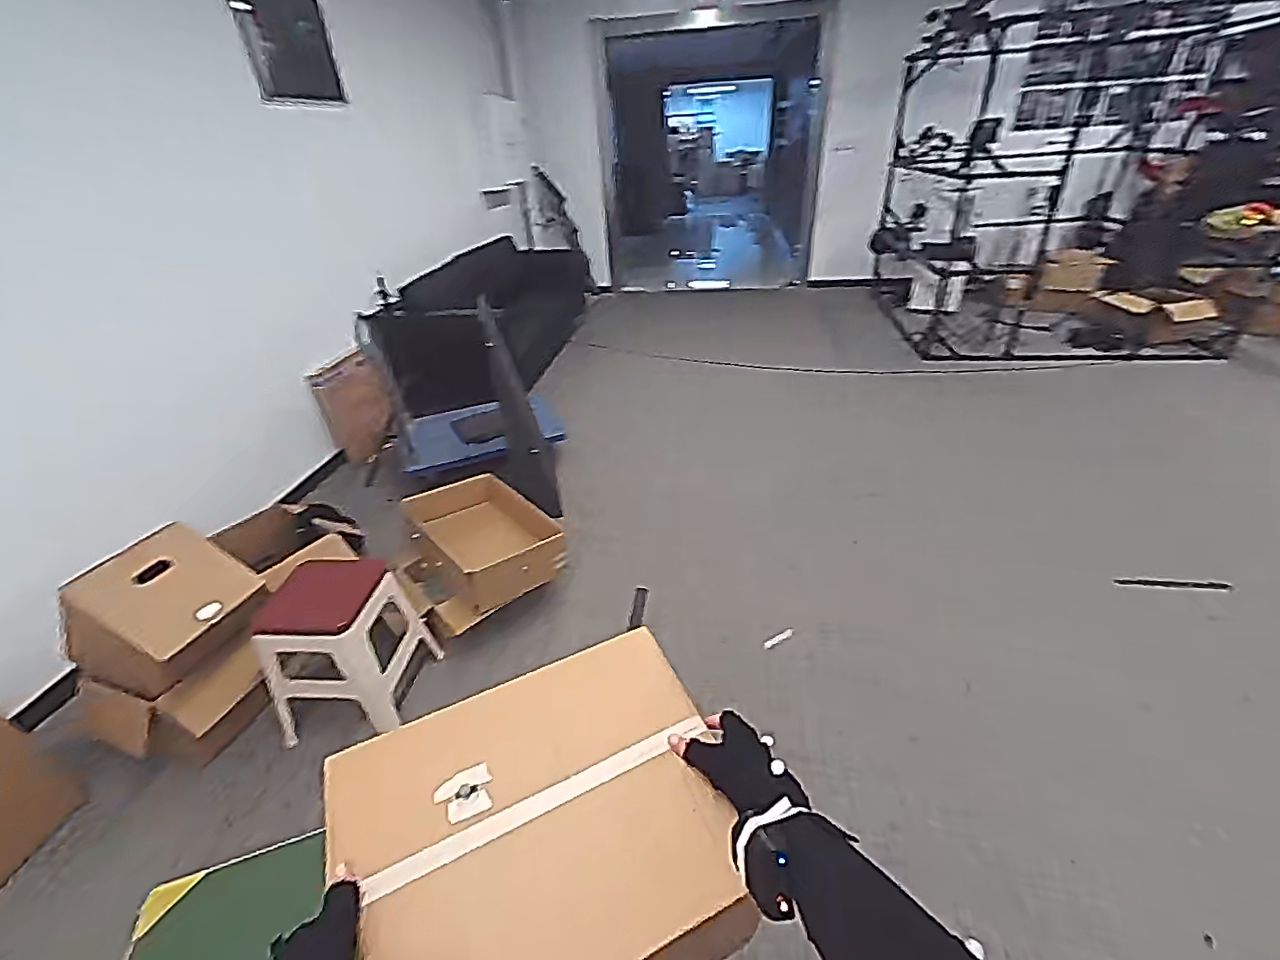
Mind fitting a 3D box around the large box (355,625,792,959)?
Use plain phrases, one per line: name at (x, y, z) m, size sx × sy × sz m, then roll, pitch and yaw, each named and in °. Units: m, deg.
large box at (-0.082, 0.457, 0.676) m, size 0.408 × 0.320 × 0.320 m, roll -18°, pitch 42°, yaw -17°
